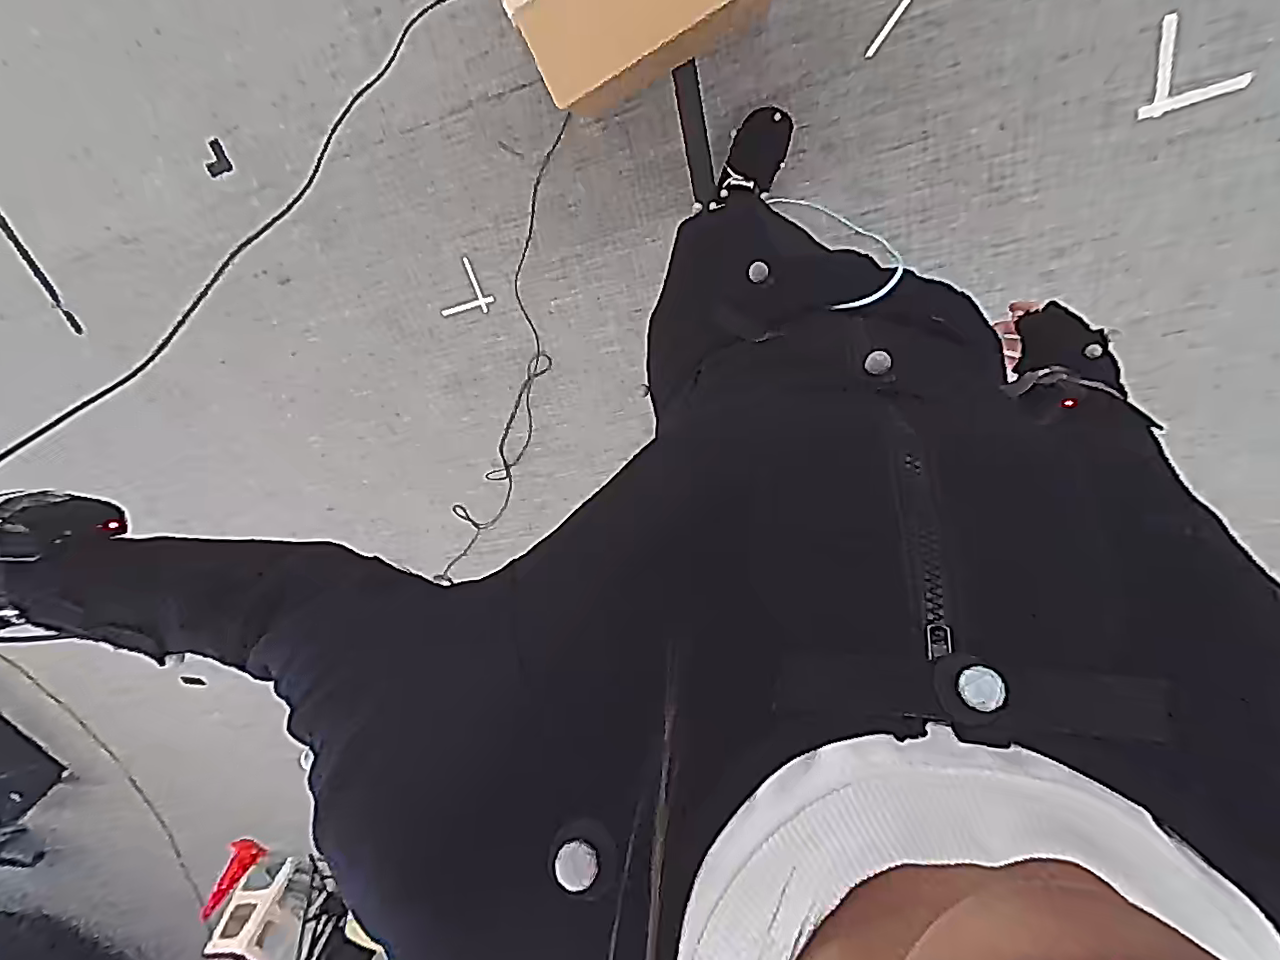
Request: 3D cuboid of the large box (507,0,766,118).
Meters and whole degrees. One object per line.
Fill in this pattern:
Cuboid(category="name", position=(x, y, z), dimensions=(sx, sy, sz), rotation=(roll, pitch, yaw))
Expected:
Cuboid(category="large box", position=(-0.017, -0.887, 0.911), dimensions=(0.408, 0.320, 0.320), rotation=(-21, 117, 17))
